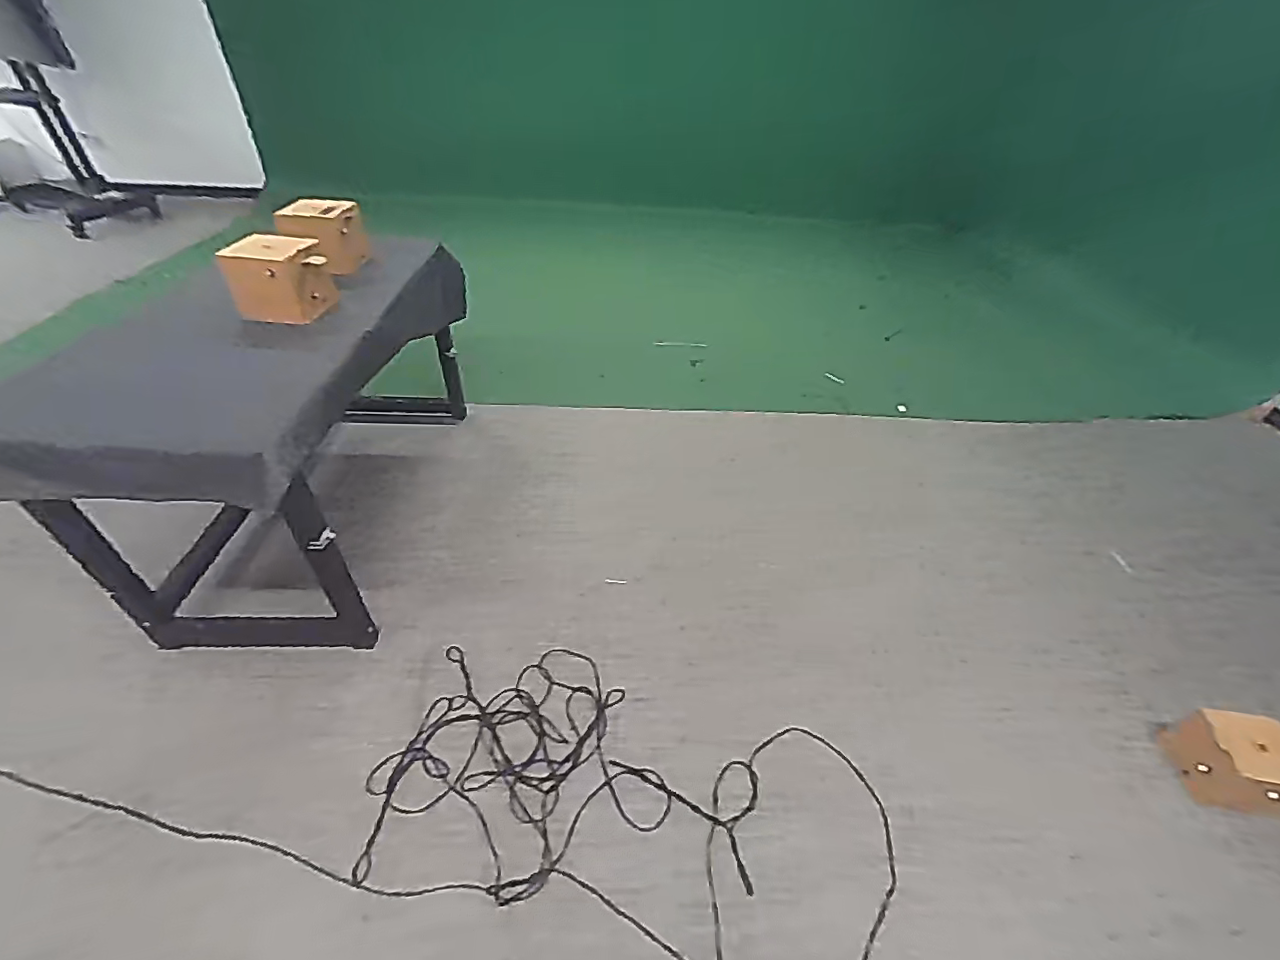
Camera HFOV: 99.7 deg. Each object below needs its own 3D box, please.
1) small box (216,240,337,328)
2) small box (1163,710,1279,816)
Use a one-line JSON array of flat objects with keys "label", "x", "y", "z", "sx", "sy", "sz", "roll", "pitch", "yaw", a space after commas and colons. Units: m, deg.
[{"label": "small box", "x": -0.936, "y": -0.511, "z": 1.410, "sx": 0.179, "sy": 0.176, "sz": 0.168, "roll": 6, "pitch": 40, "yaw": 2}, {"label": "small box", "x": 1.434, "y": 0.685, "z": 1.306, "sx": 0.179, "sy": 0.176, "sz": 0.168, "roll": 8, "pitch": 42, "yaw": 4}]
